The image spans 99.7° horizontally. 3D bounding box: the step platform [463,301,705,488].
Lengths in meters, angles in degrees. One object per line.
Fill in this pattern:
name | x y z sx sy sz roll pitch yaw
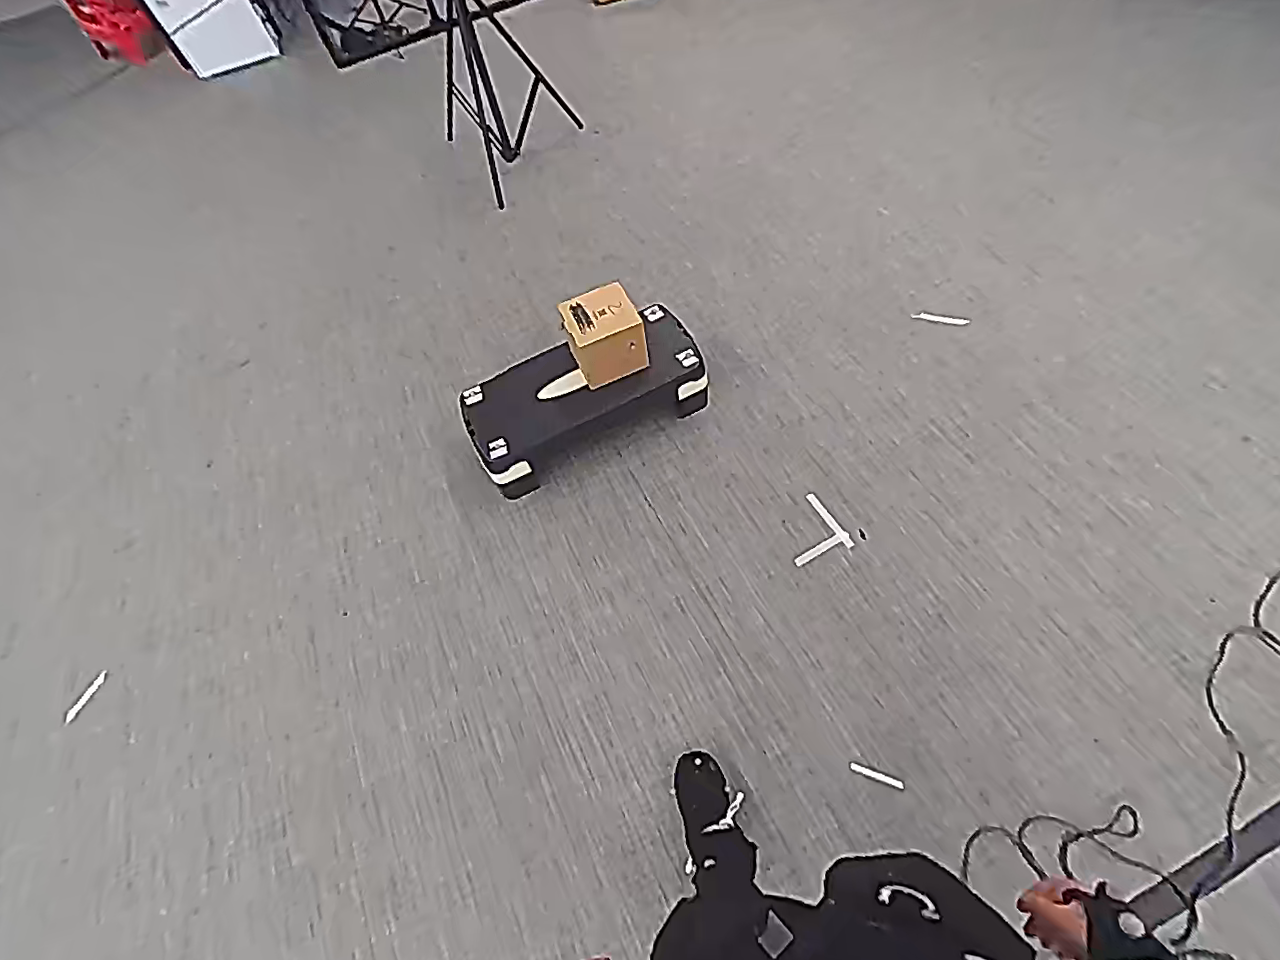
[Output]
step platform | -0.157 -0.254 1.574 0.684 0.204 0.286 -27 62 -7
